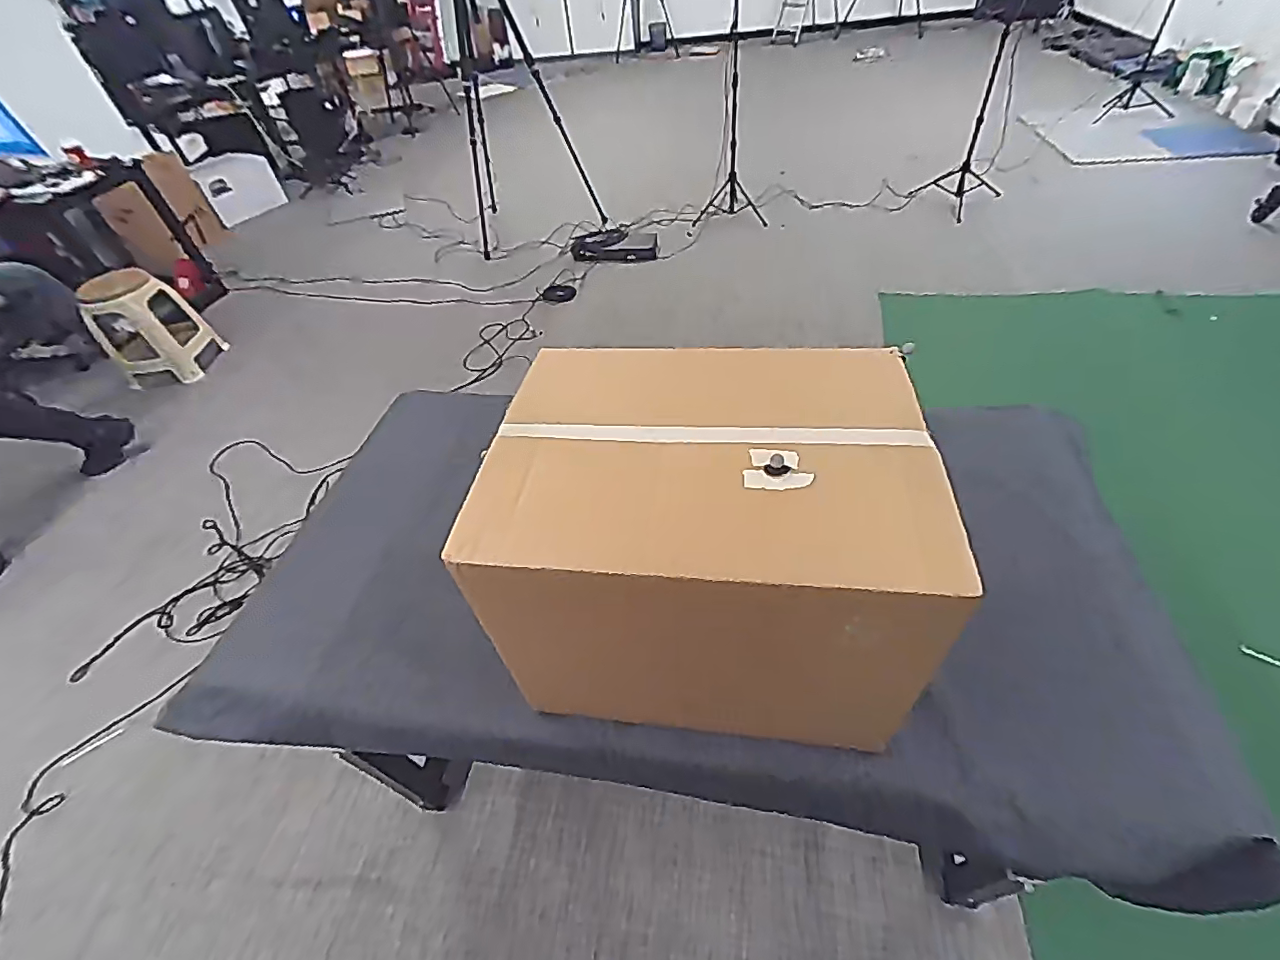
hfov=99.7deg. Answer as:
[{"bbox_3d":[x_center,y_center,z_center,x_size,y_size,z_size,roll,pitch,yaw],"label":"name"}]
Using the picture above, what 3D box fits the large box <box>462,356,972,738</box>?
[{"bbox_3d":[0.075,0.070,0.625,0.408,0.320,0.320,3,47,8],"label":"large box"}]
